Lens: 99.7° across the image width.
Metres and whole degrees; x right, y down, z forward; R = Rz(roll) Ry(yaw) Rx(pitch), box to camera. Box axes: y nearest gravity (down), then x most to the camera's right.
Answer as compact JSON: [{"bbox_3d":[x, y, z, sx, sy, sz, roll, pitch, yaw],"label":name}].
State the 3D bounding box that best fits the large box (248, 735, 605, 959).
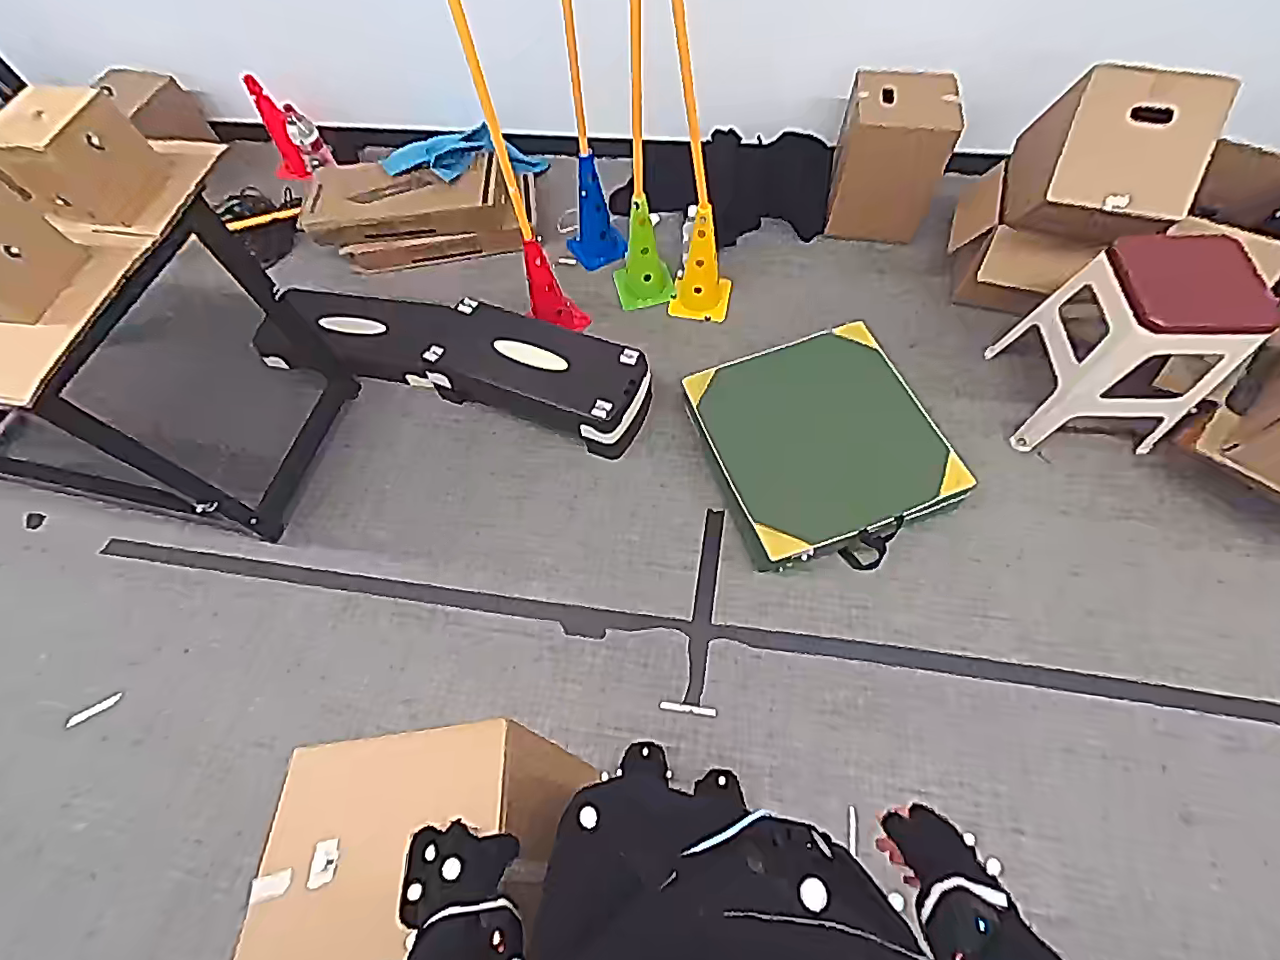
[{"bbox_3d":[-0.254,0.581,0.769,0.320,0.408,0.320,-8,52,9],"label":"large box"}]
